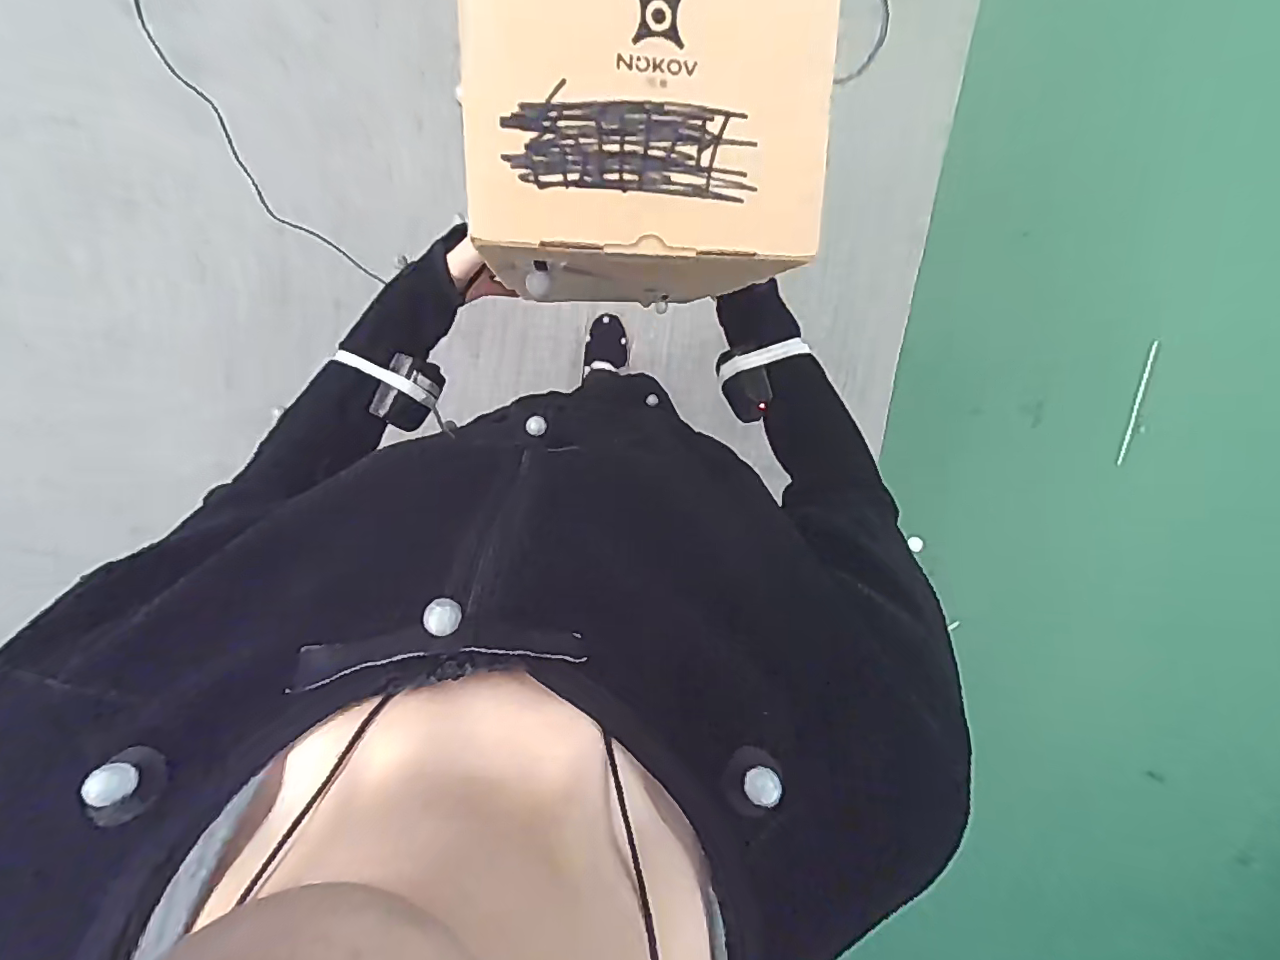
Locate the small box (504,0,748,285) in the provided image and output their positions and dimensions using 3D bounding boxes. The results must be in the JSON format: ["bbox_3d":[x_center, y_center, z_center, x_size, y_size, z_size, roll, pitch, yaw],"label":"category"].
[{"bbox_3d":[-0.020,-0.268,0.472,0.179,0.176,0.168,-1,103,-7],"label":"small box"}]
